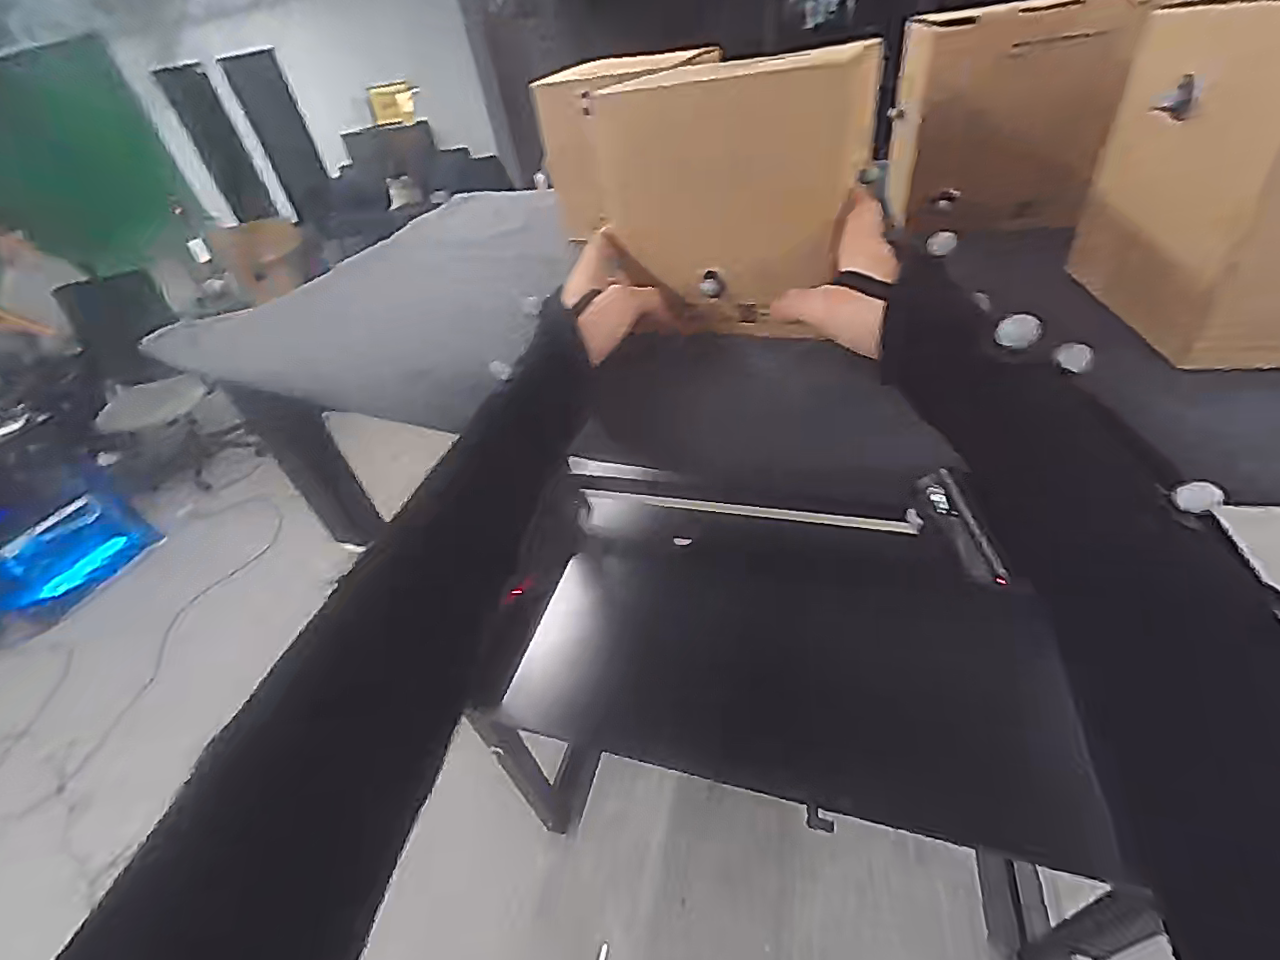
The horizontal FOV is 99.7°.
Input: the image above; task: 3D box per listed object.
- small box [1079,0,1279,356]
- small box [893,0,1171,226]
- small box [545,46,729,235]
[{"bbox_3d":[0.401,-0.183,0.311,0.168,0.176,0.179,3,39,15],"label":"small box"},{"bbox_3d":[0.358,-0.361,0.537,0.168,0.176,0.179,4,41,16],"label":"small box"},{"bbox_3d":[0.010,-0.417,0.671,0.168,0.176,0.179,9,43,22],"label":"small box"}]
